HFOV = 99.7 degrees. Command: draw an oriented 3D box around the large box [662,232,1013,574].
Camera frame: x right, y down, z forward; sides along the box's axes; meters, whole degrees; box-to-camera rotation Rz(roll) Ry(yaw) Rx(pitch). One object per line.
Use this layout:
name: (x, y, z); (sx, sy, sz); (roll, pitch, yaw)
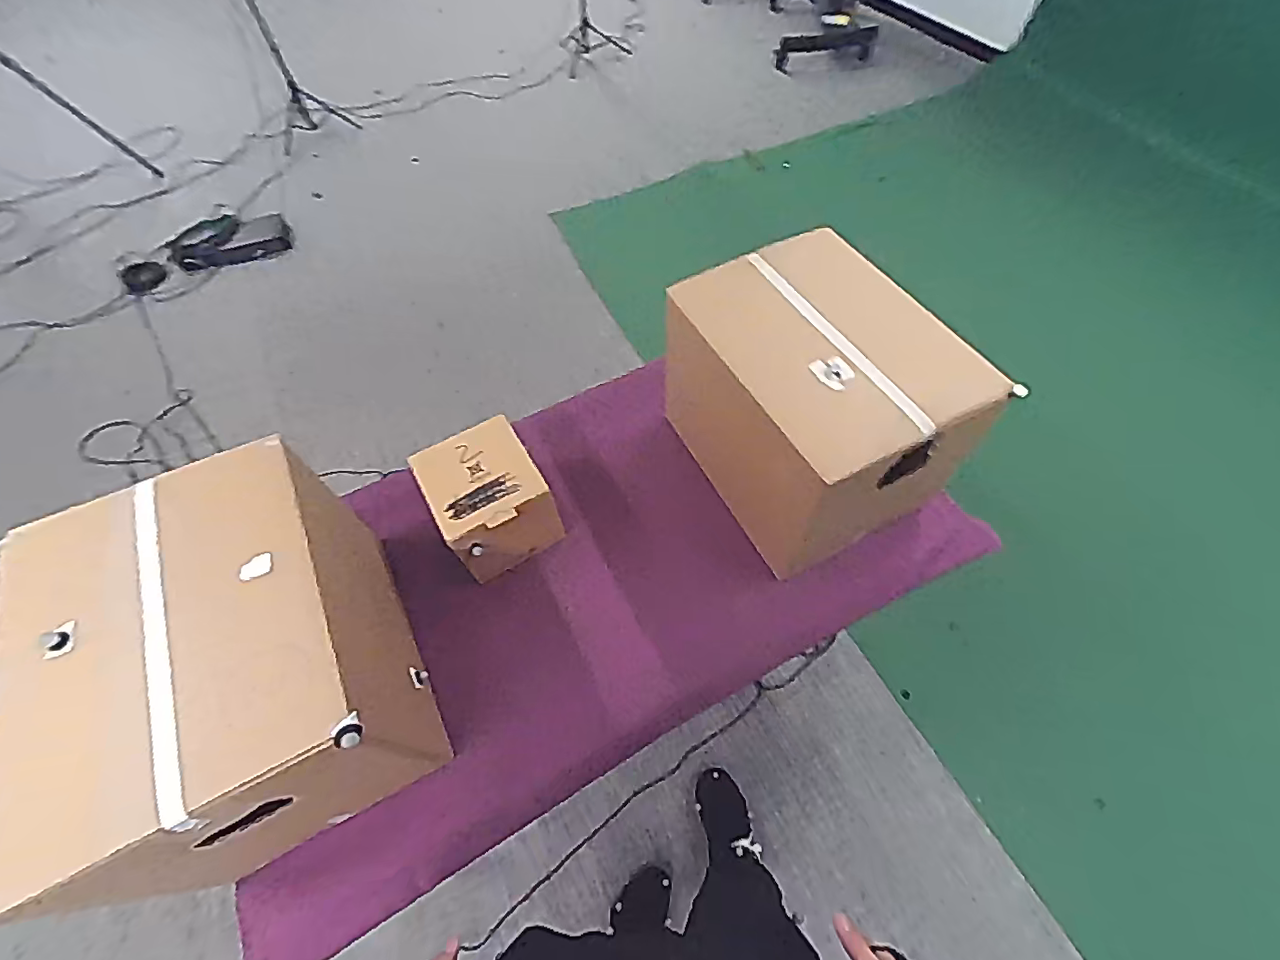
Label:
large box: (0.266, -0.125, 0.893); (0.320, 0.320, 0.408); (-26, 62, -13)
